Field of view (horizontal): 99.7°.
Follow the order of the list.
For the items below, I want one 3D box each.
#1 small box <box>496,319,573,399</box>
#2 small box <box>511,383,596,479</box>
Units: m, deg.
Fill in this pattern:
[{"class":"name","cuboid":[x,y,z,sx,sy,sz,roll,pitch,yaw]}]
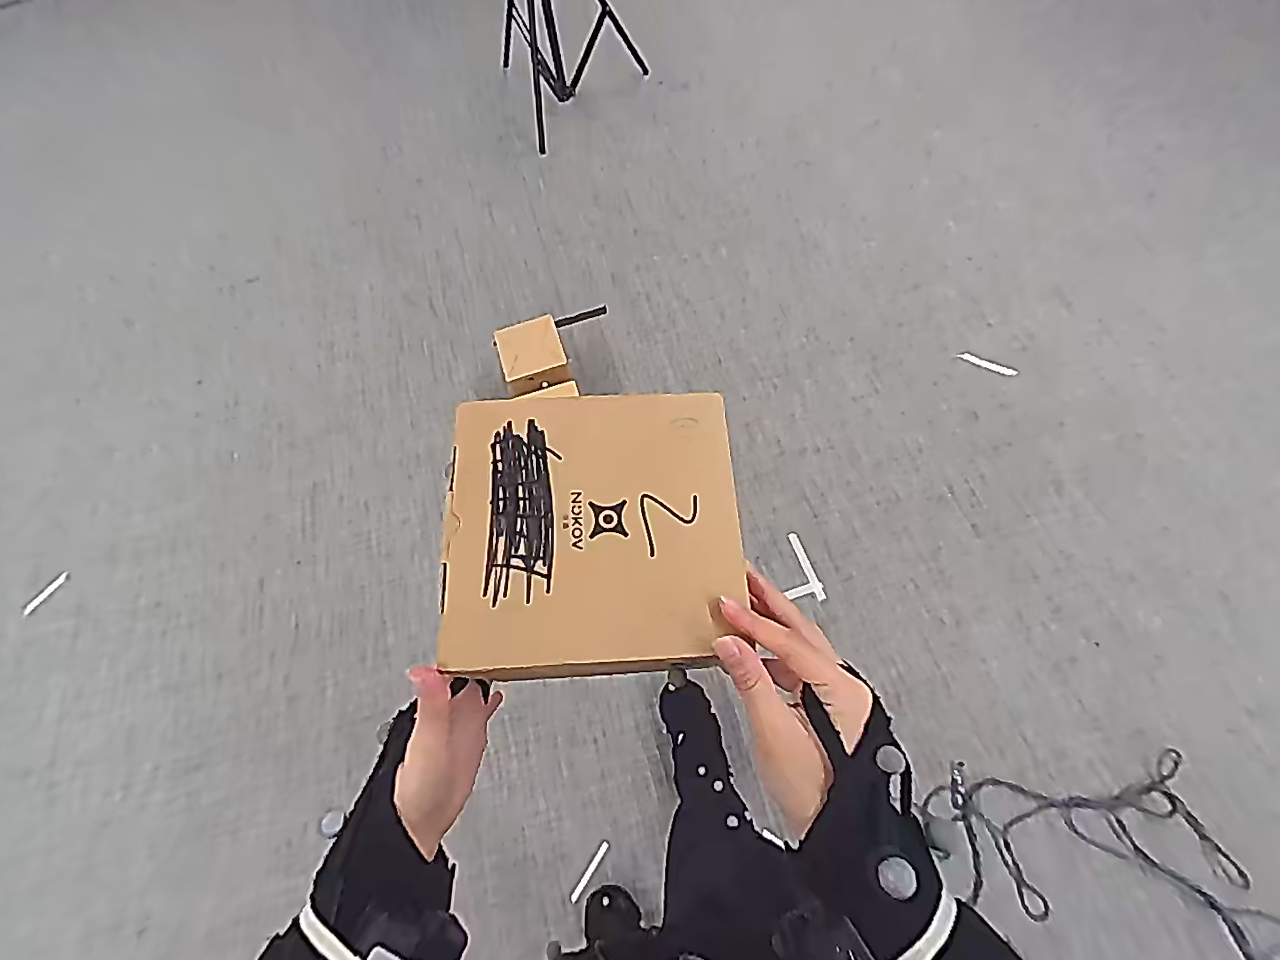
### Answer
[{"class":"small box","cuboid":[-0.289,-0.318,1.511,0.168,0.176,0.179,-19,66,-3]},{"class":"small box","cuboid":[-0.221,-0.124,1.424,0.179,0.176,0.168,-18,66,-3]}]
